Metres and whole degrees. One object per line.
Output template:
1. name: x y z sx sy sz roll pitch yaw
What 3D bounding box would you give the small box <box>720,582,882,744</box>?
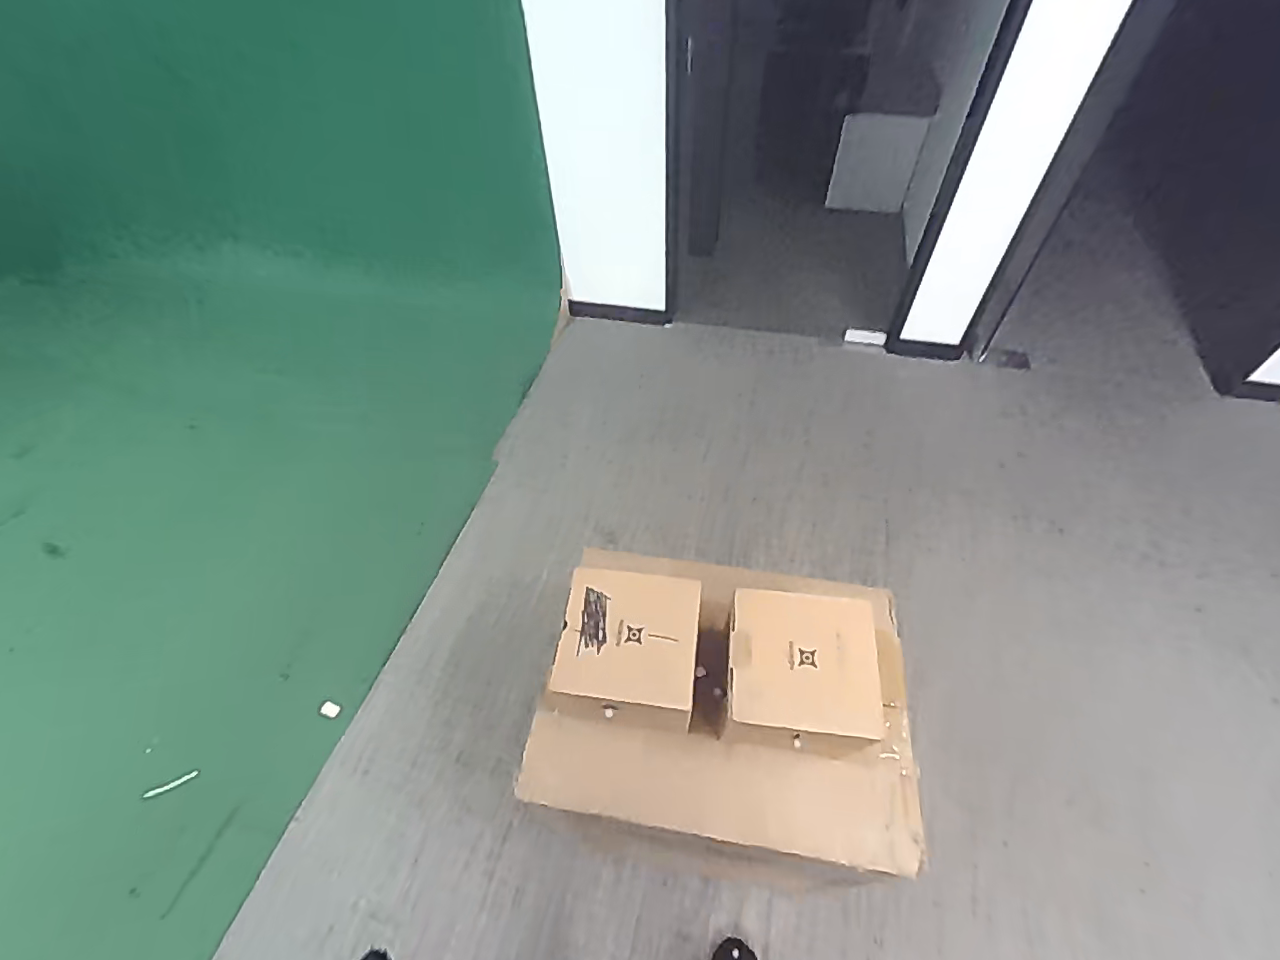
1. small box: 0.202 0.251 0.731 0.179 0.176 0.168 4 58 5

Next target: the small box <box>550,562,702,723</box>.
1. small box: -0.010 0.231 0.755 0.179 0.176 0.168 5 58 6
